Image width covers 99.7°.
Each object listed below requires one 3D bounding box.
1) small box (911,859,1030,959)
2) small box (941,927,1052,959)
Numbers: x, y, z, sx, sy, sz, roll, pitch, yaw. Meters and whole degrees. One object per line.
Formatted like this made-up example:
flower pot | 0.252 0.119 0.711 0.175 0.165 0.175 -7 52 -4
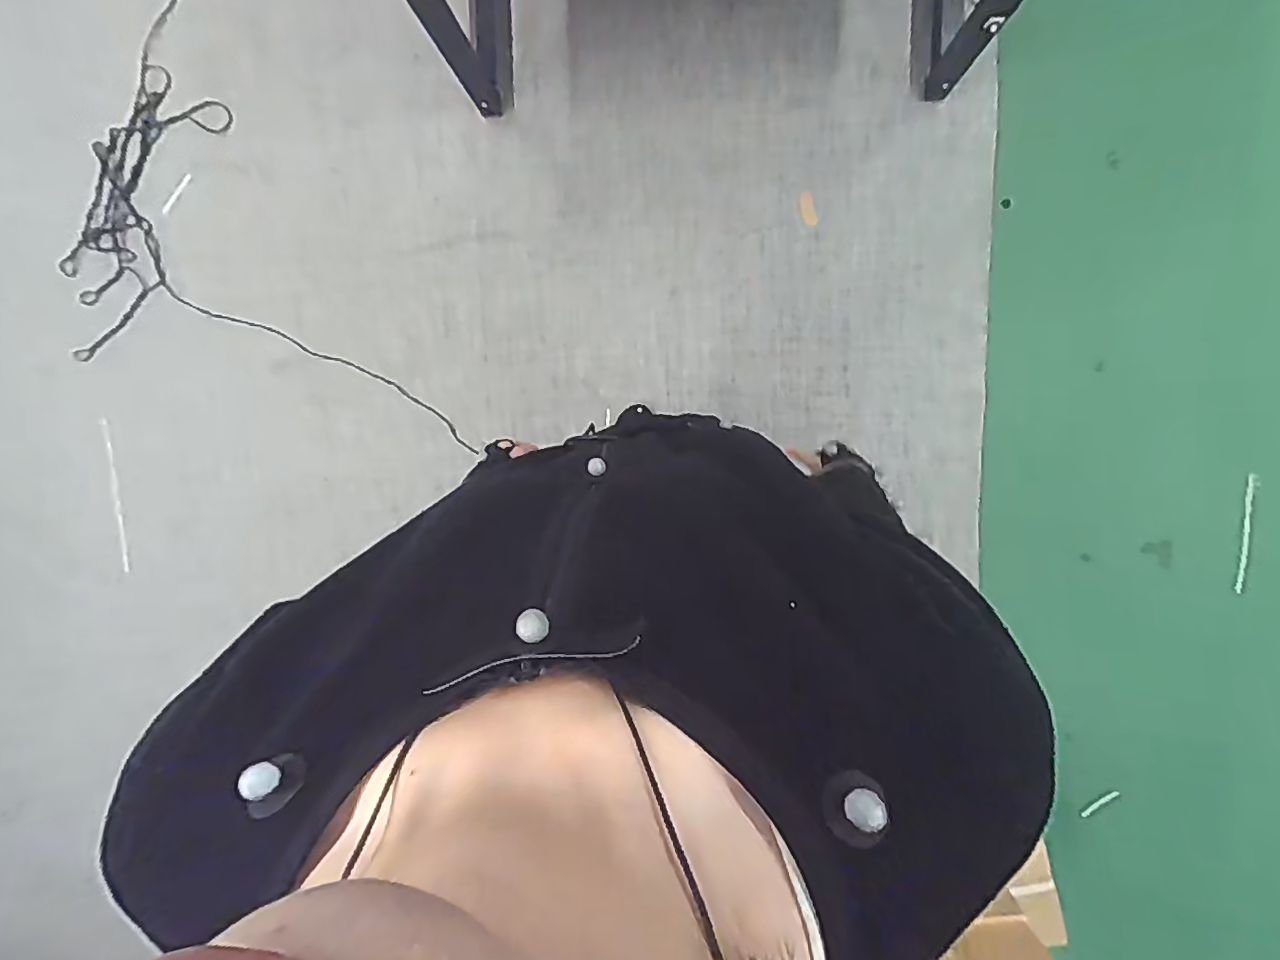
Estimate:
small box | 0.701 0.945 1.152 0.168 0.176 0.179 -10 94 6
small box | 0.686 0.968 0.992 0.179 0.176 0.168 -8 95 6
